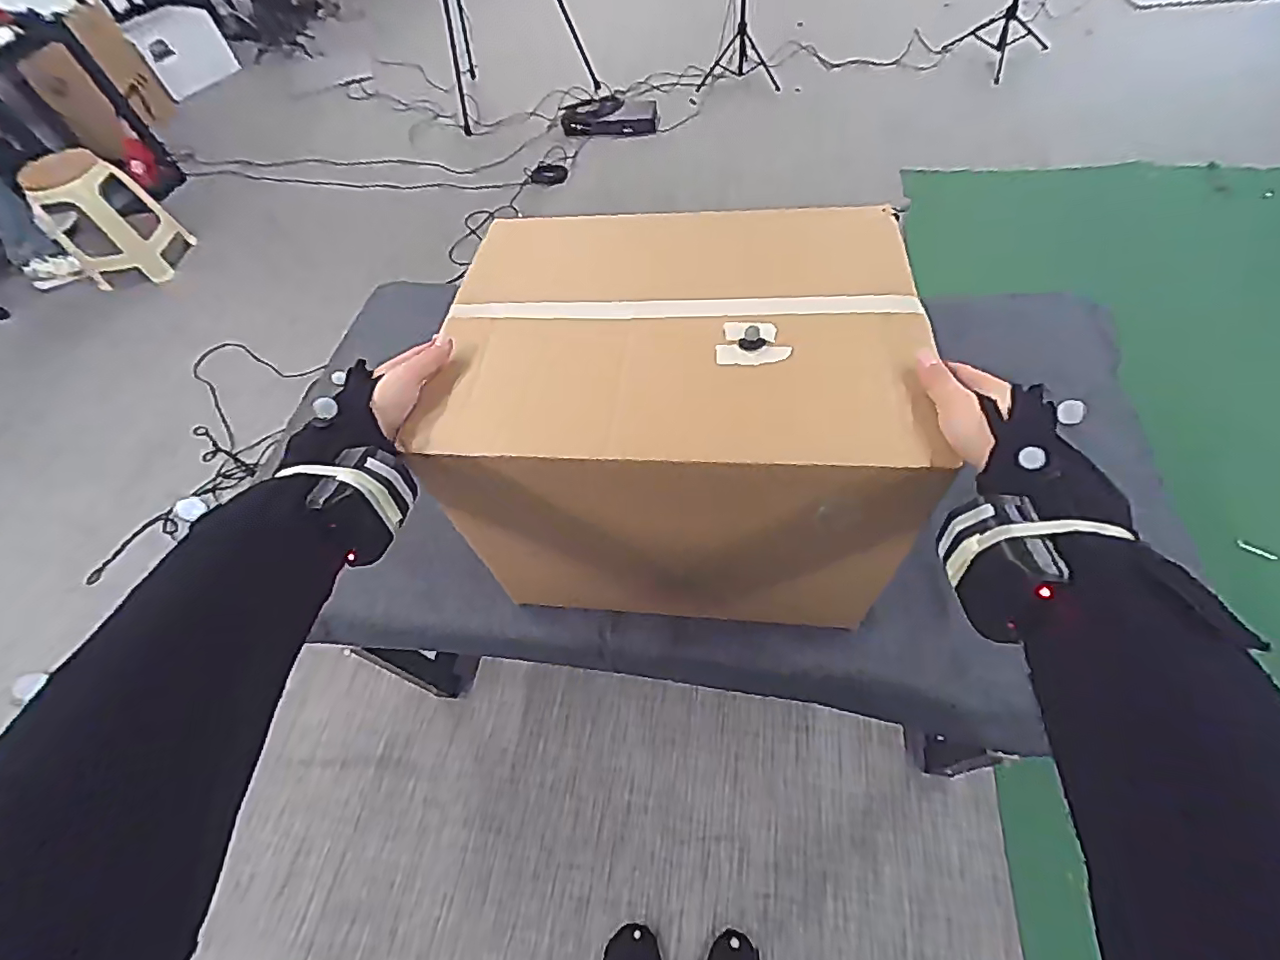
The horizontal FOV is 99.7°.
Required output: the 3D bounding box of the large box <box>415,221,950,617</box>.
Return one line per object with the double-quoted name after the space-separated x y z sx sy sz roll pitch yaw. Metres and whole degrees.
0.043 -0.055 0.600 0.408 0.320 0.320 2 56 7 "large box"
